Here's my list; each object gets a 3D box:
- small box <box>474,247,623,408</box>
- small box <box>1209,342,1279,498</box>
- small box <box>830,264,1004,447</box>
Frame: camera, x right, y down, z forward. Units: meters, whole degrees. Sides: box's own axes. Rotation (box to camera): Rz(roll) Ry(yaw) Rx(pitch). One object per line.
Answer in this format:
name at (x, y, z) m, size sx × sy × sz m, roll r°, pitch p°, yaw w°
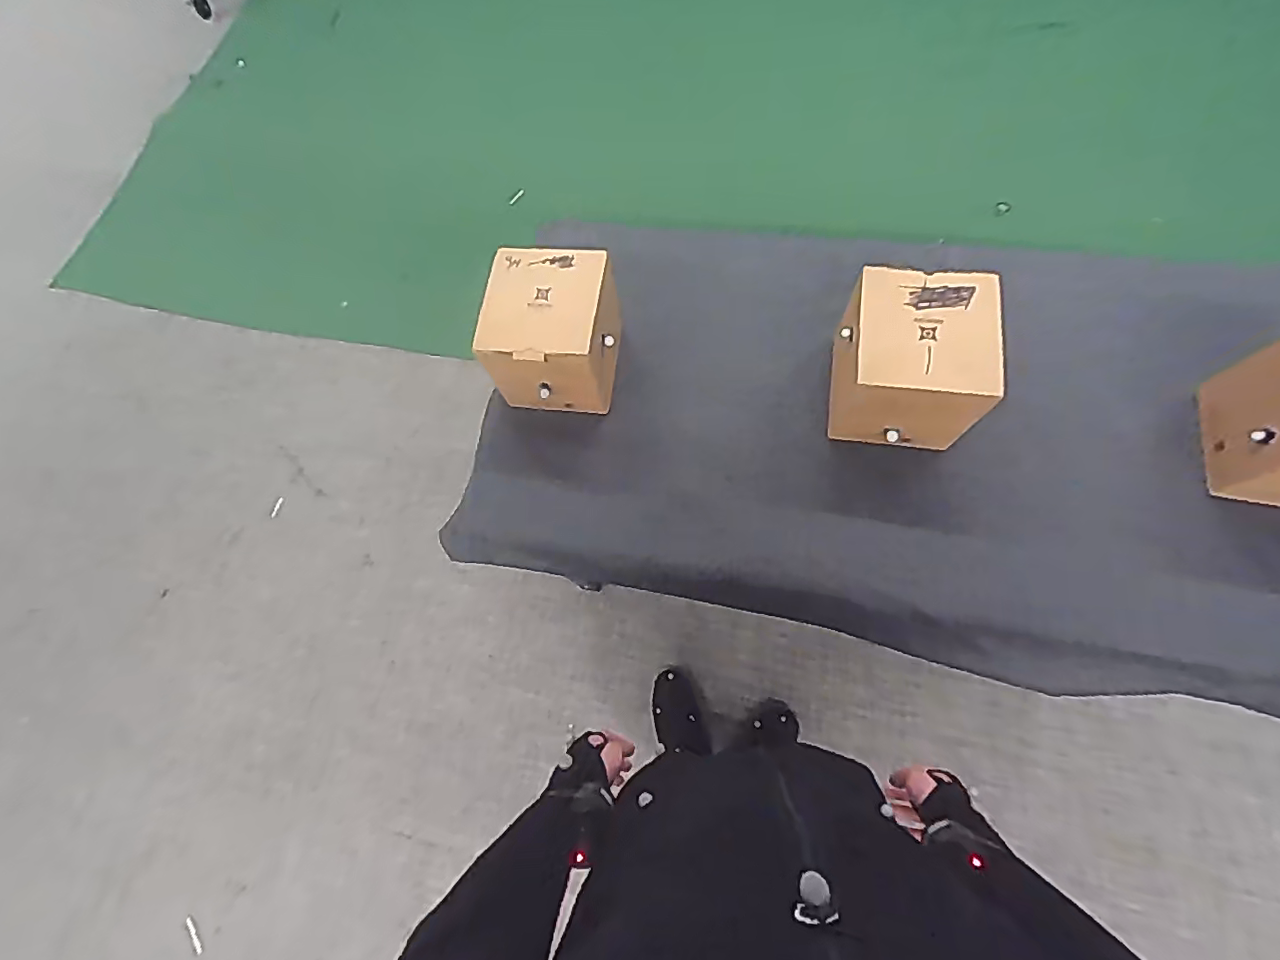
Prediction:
small box at (-0.126, -0.223, 0.820) m, size 0.168 × 0.176 × 0.179 m, roll 5°, pitch 72°, yaw 9°
small box at (0.839, -0.070, 0.643) m, size 0.179 × 0.176 × 0.168 m, roll 10°, pitch 74°, yaw 10°
small box at (0.363, -0.163, 0.736) m, size 0.168 × 0.176 × 0.179 m, roll 7°, pitch 73°, yaw 10°
